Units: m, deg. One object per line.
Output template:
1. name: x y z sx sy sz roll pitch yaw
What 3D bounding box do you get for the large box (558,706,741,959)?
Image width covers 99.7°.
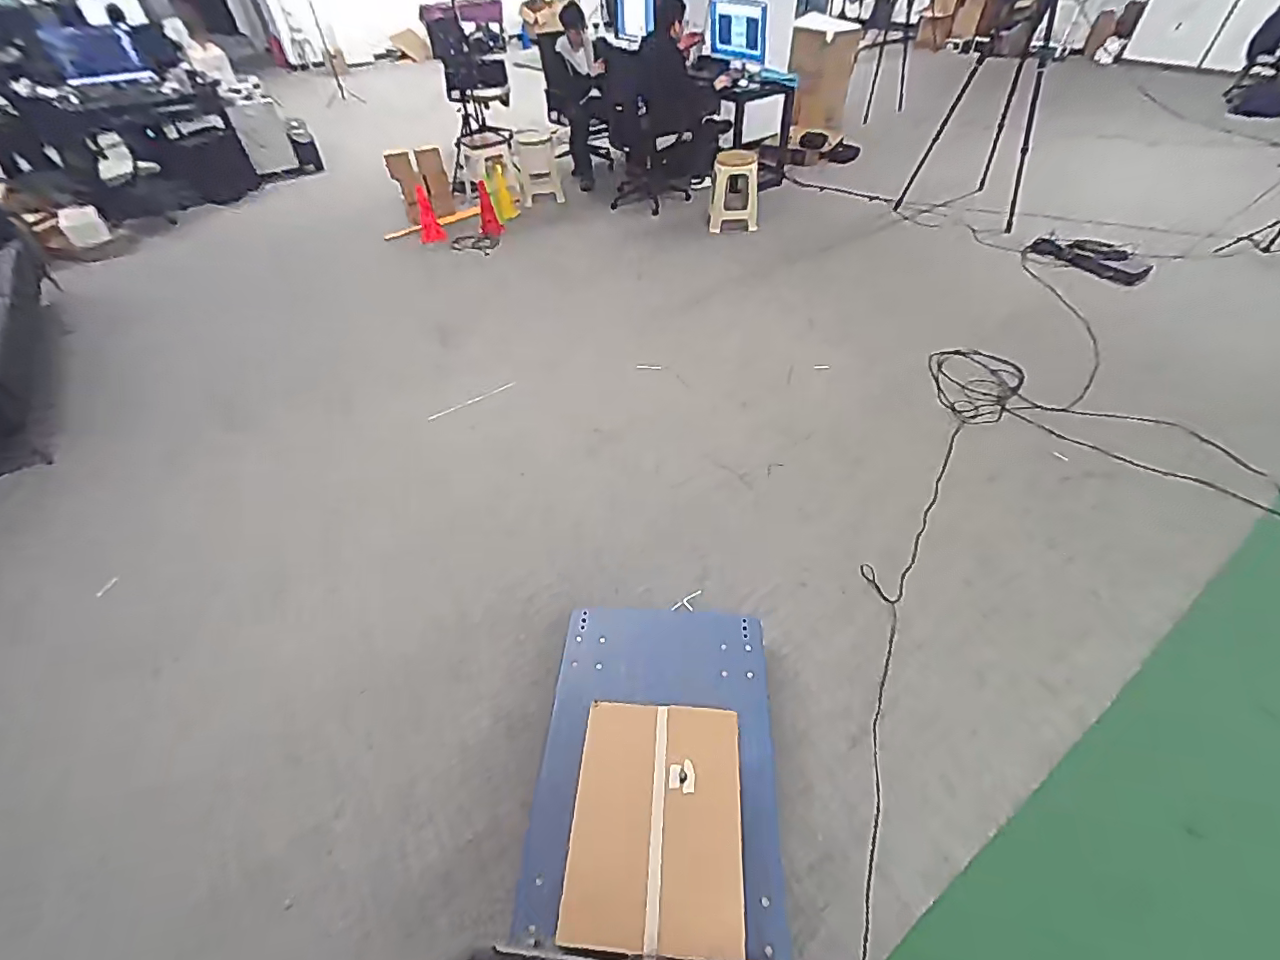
1. large box: 0.033 0.743 1.131 0.320 0.320 0.408 2 45 5
